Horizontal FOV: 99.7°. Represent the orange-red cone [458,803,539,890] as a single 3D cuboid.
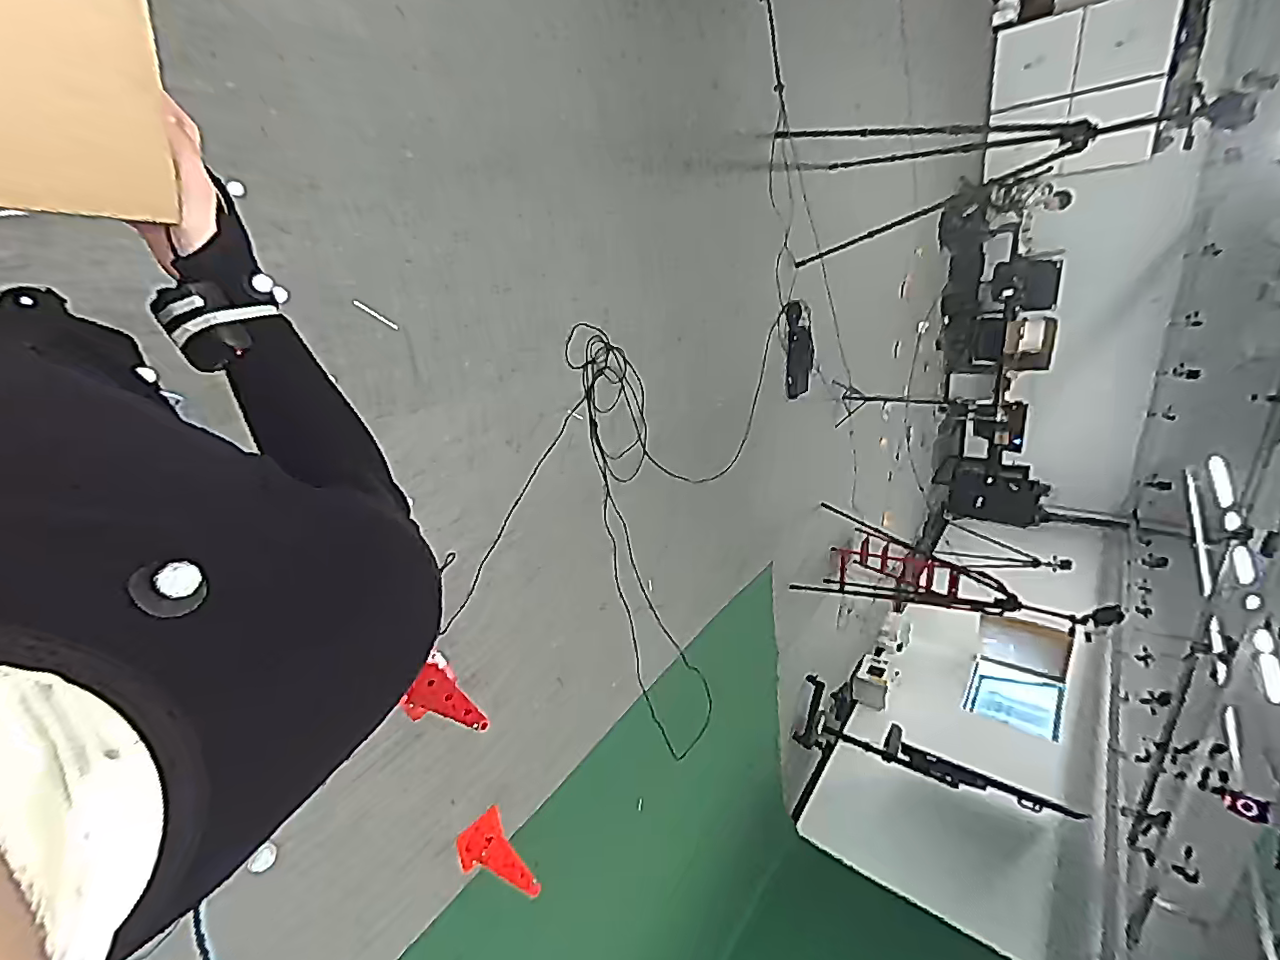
[{"bbox_3d":[-0.529,1.494,2.139,0.199,0.360,0.198,-24,118,-48],"label":"orange-red cone"}]
